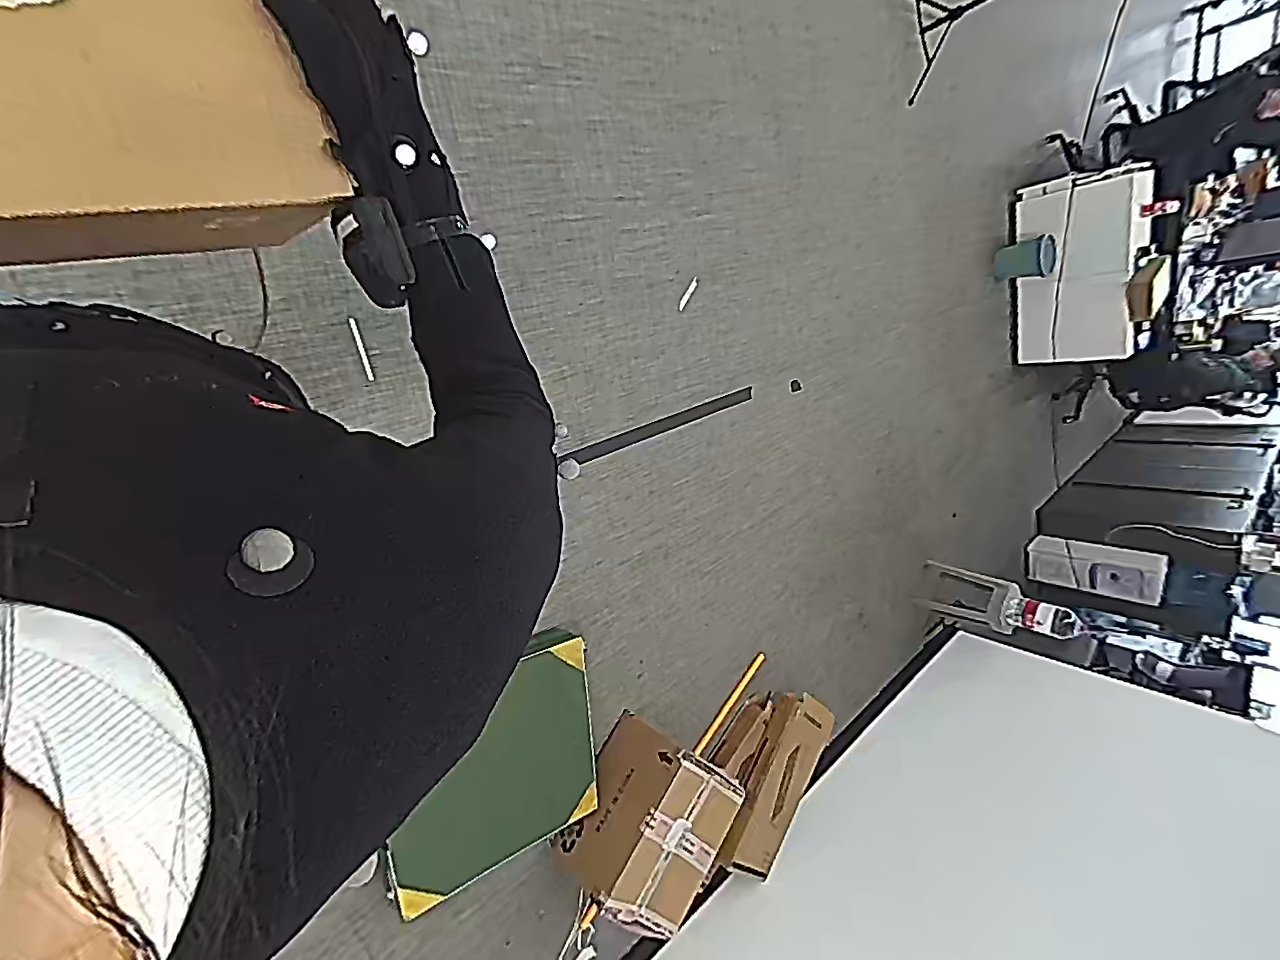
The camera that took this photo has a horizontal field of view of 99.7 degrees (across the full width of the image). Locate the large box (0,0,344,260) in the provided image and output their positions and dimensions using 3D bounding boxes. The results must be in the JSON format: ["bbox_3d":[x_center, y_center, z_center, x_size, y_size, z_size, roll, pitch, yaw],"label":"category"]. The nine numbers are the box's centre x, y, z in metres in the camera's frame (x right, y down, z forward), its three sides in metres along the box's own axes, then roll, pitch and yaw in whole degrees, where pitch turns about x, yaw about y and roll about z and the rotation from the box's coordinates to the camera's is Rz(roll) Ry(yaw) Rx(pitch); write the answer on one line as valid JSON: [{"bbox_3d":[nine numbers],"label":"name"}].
[{"bbox_3d":[-0.472,-0.307,0.320,0.408,0.320,0.320,-25,119,-35],"label":"large box"}]
